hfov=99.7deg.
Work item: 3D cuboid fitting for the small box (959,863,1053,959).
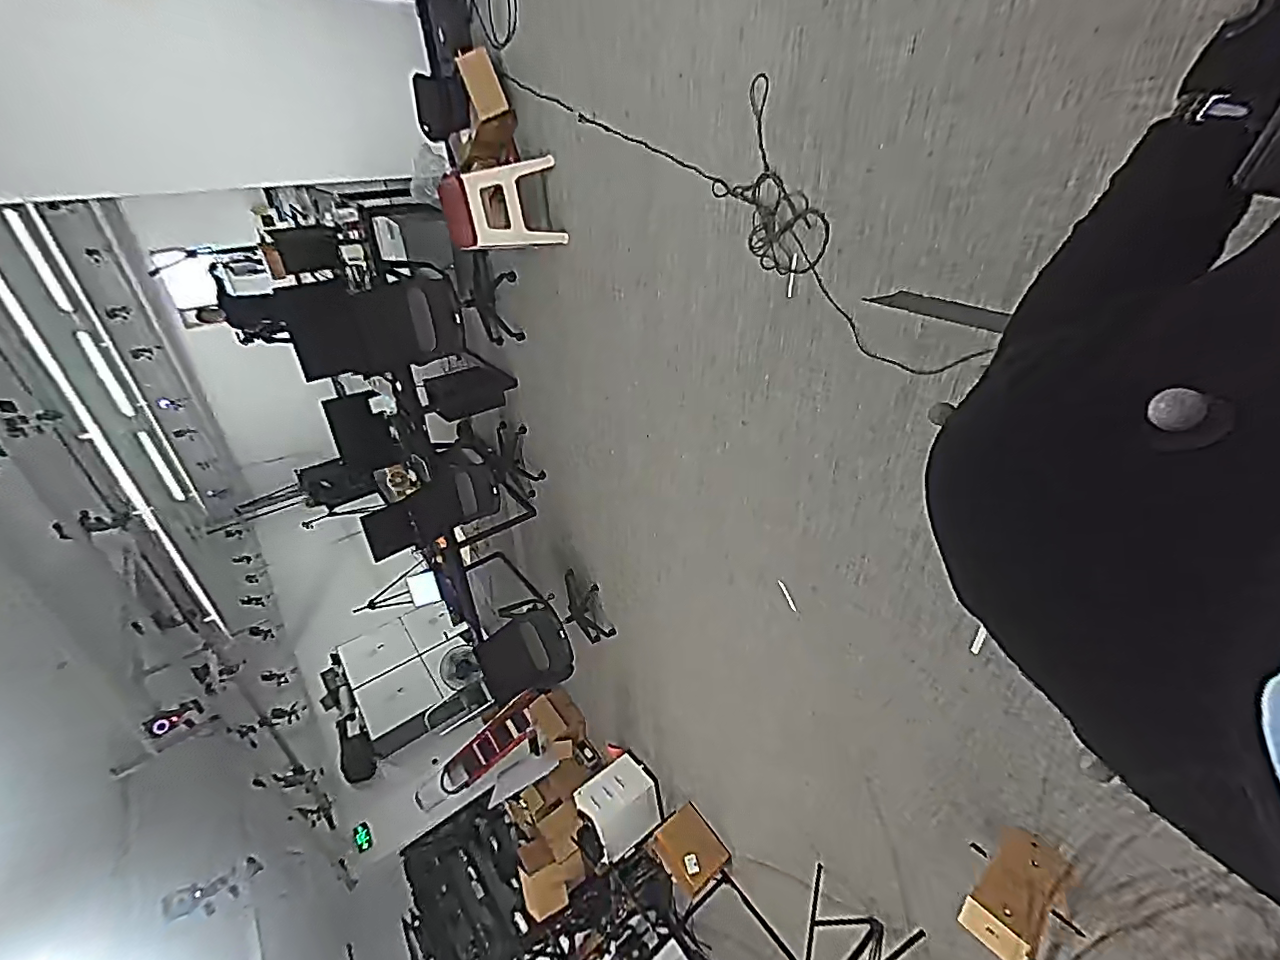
[{"bbox_3d":[1.145,1.349,1.692,0.179,0.176,0.168,28,133,45],"label":"small box"}]

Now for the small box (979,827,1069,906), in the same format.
[{"bbox_3d":[1.269,1.297,1.783,0.168,0.176,0.179,37,140,40],"label":"small box"}]
